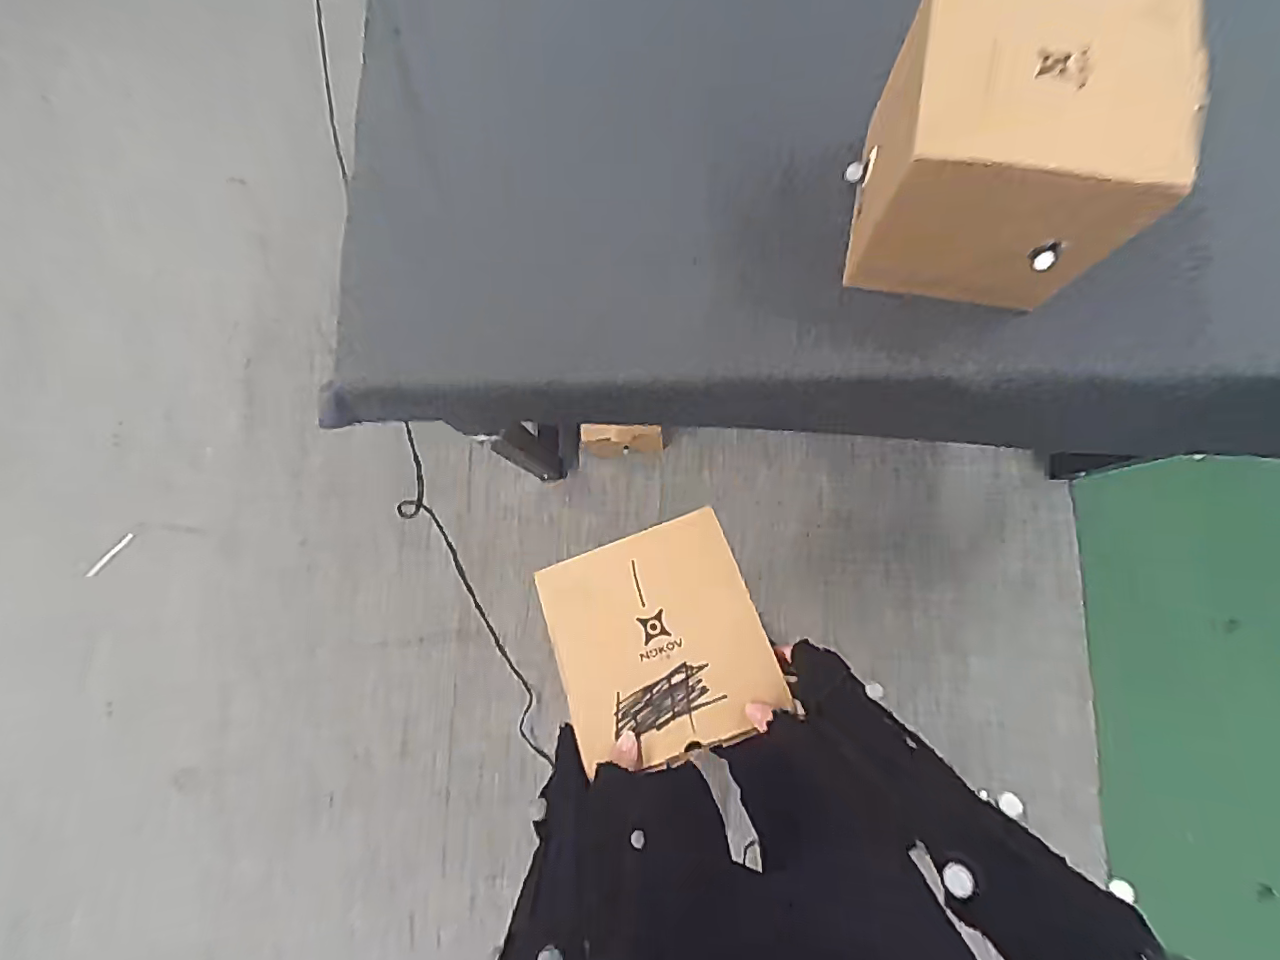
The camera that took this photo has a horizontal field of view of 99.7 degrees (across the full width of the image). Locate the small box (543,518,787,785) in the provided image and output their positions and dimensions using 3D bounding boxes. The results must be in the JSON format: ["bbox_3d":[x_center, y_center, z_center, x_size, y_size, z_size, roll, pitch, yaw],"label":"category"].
[{"bbox_3d":[0.028,0.163,0.518,0.168,0.176,0.179,-20,66,2],"label":"small box"}]

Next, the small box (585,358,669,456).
[{"bbox_3d":[-0.023,-0.152,1.194,0.168,0.176,0.179,-4,81,3],"label":"small box"}]
